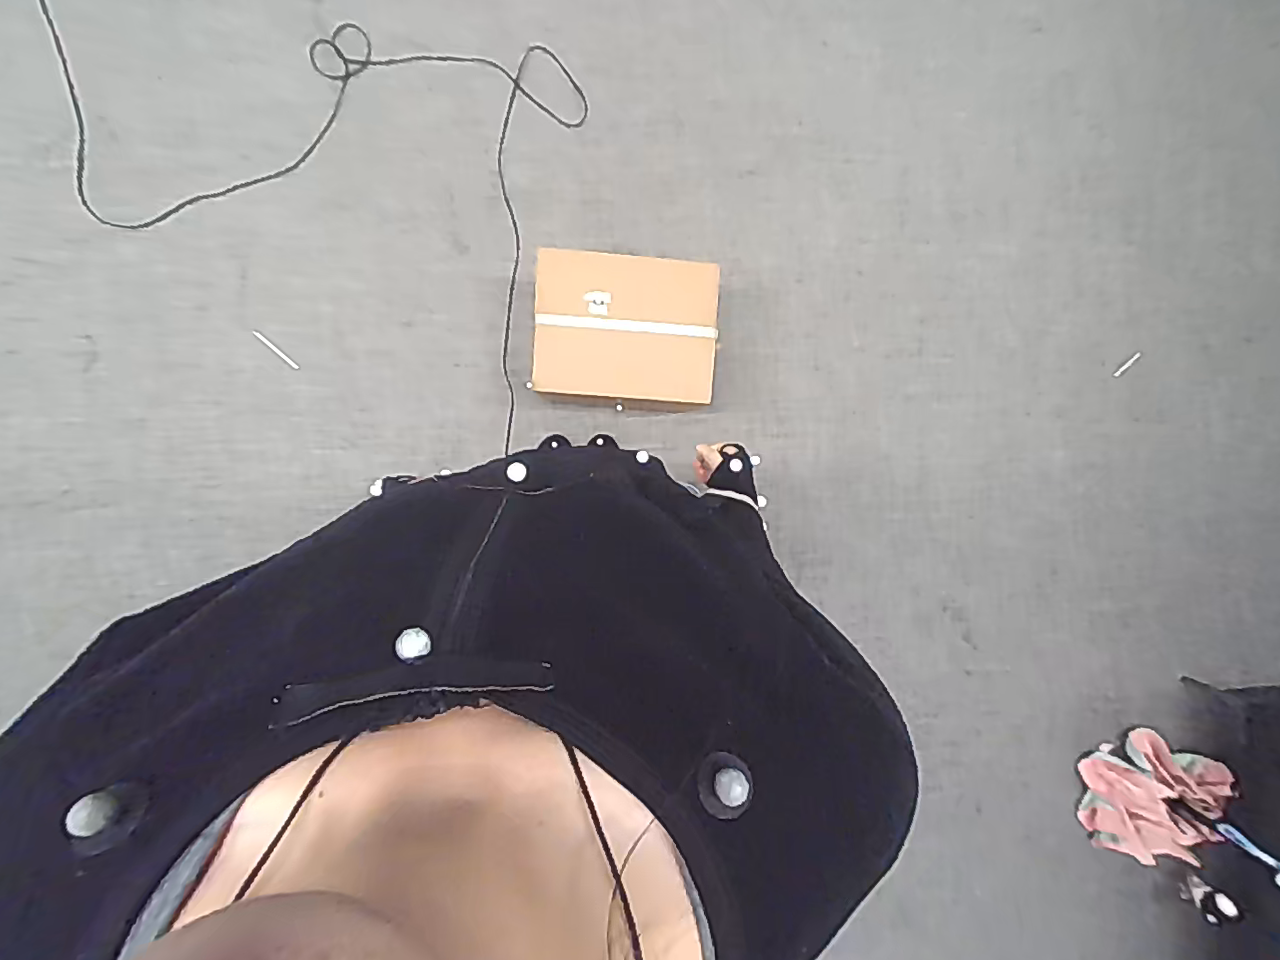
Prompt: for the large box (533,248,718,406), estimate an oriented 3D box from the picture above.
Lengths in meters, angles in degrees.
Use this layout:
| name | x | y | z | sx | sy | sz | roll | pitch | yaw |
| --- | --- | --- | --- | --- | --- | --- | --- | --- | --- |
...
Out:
| name | x | y | z | sx | sy | sz | roll | pitch | yaw |
| --- | --- | --- | --- | --- | --- | --- | --- | --- | --- |
| large box | -0.040 | -0.356 | 1.351 | 0.408 | 0.320 | 0.320 | 4 | 93 | -4 |
